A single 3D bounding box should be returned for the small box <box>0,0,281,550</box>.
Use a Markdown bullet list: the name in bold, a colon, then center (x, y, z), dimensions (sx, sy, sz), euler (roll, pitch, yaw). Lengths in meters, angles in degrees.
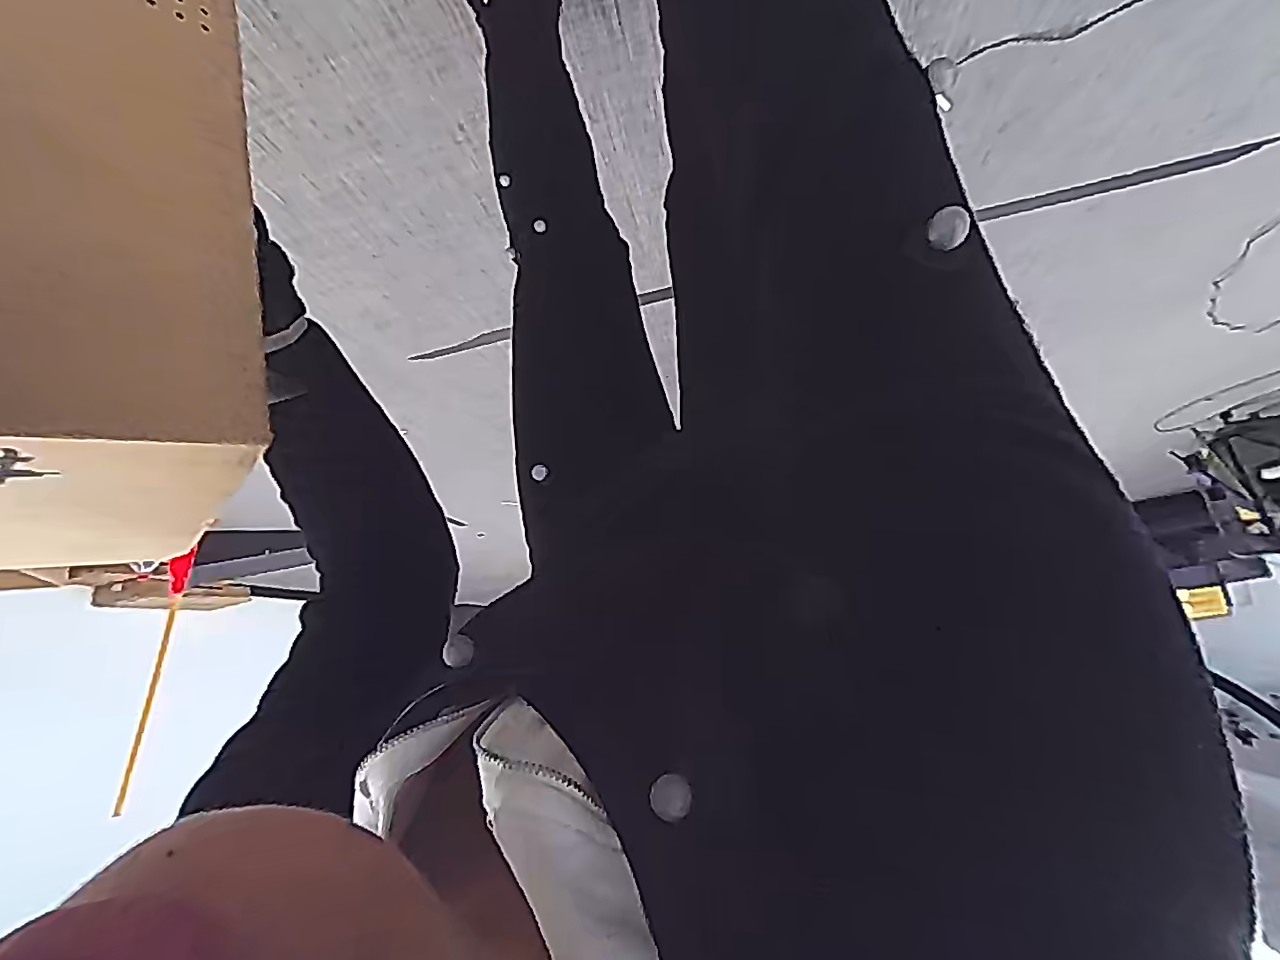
- **small box**: center (-0.235, -0.072, 0.170), dimensions (0.179, 0.176, 0.168), euler (-20, 168, 41)
